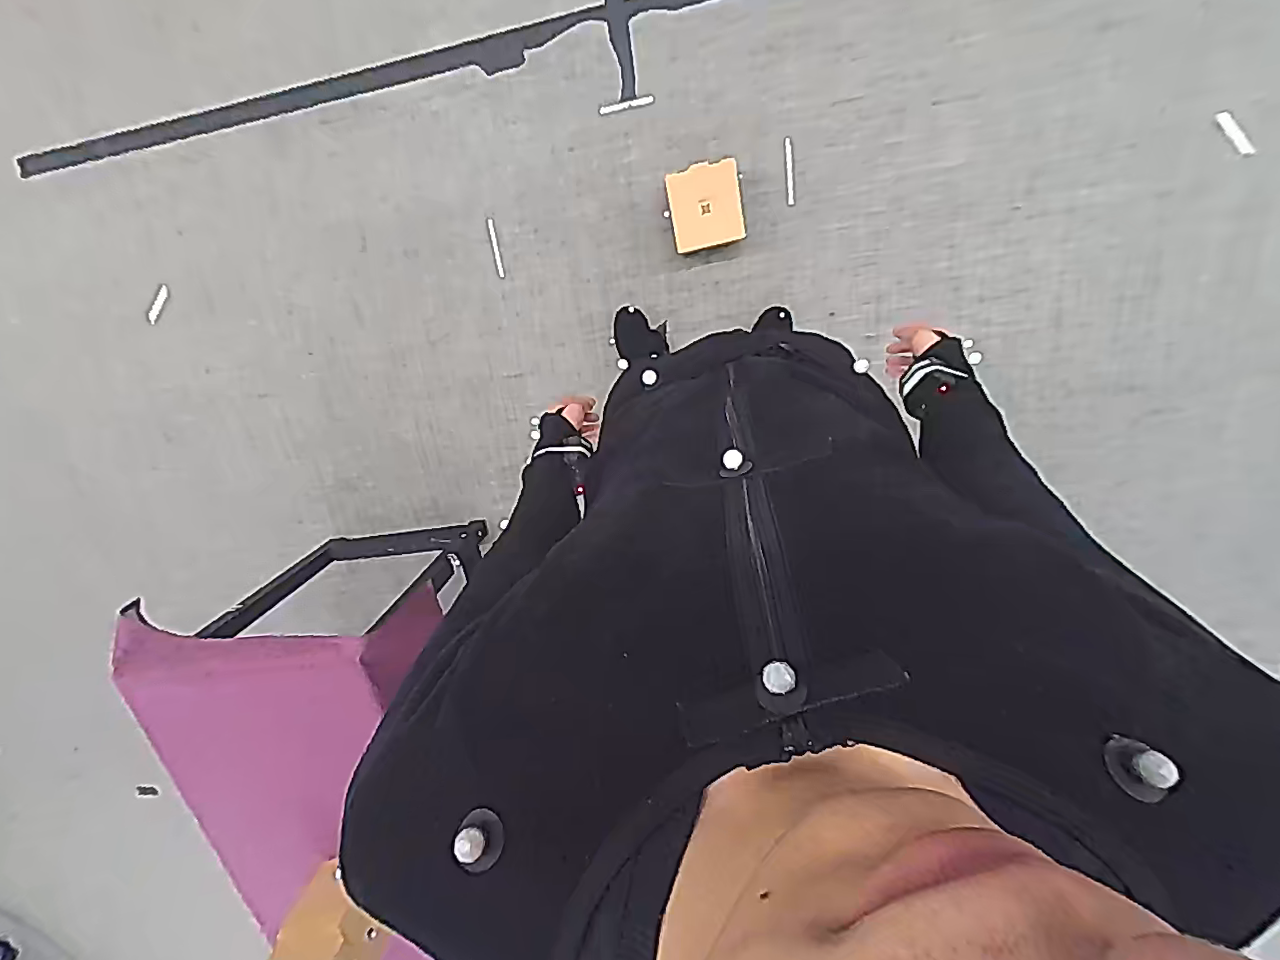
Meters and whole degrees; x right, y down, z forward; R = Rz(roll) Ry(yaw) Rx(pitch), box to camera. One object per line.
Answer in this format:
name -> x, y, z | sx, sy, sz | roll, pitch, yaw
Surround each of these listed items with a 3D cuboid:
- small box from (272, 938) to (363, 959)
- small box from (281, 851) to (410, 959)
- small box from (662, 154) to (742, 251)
small box -> -0.697, 1.097, 1.124 | 0.179, 0.176, 0.168 | -12, 109, 10
small box -> -0.678, 1.018, 1.269 | 0.168, 0.176, 0.179 | -17, 107, 11
small box -> 0.155, -0.675, 1.338 | 0.168, 0.176, 0.179 | -10, 109, 9
